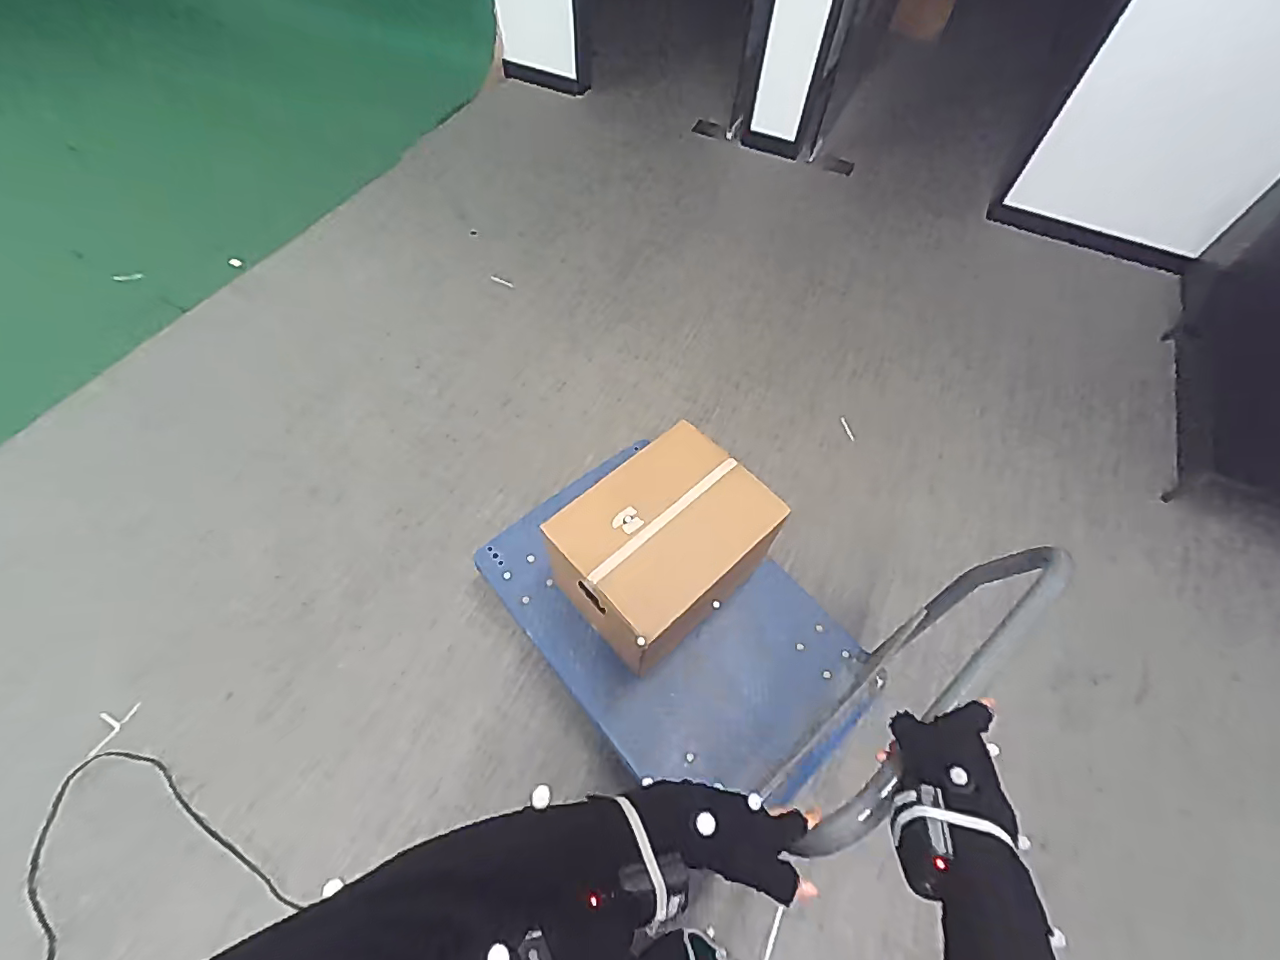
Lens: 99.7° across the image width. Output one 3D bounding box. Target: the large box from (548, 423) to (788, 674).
[{"bbox_3d":[0.058,0.155,1.210,0.408,0.320,0.320,-39,67,-21],"label":"large box"}]
